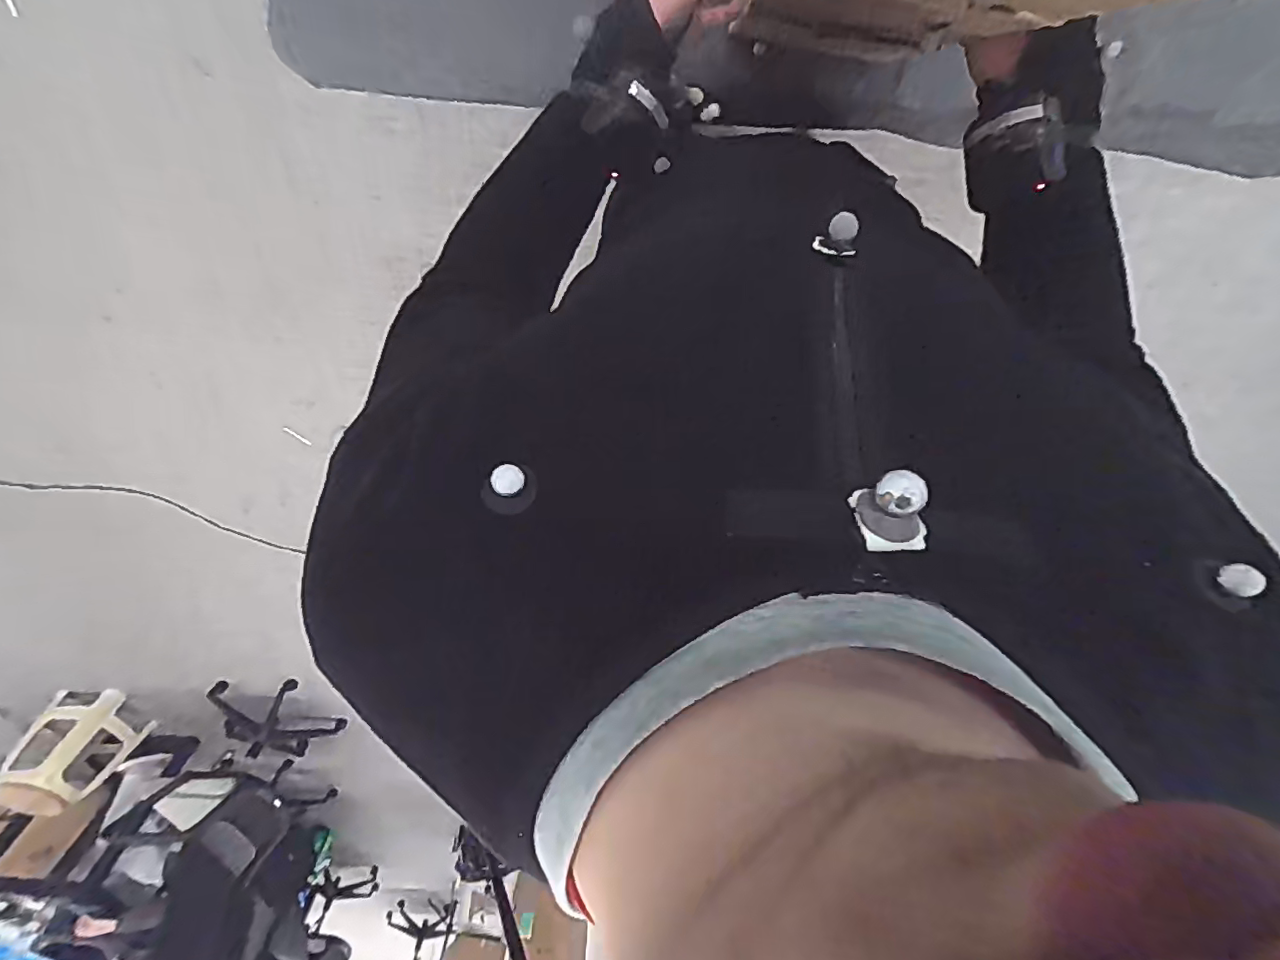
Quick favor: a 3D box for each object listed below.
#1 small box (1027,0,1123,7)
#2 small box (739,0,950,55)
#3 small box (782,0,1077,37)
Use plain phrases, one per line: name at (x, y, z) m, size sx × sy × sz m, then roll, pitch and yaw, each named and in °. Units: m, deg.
small box at (0.176, -0.291, 0.181) m, size 0.168 × 0.176 × 0.179 m, roll 10°, pitch 127°, yaw -6°
small box at (0.184, -0.476, 0.448) m, size 0.168 × 0.176 × 0.179 m, roll 8°, pitch 125°, yaw -3°
small box at (0.179, -0.385, 0.315) m, size 0.168 × 0.176 × 0.179 m, roll 7°, pitch 125°, yaw -4°
